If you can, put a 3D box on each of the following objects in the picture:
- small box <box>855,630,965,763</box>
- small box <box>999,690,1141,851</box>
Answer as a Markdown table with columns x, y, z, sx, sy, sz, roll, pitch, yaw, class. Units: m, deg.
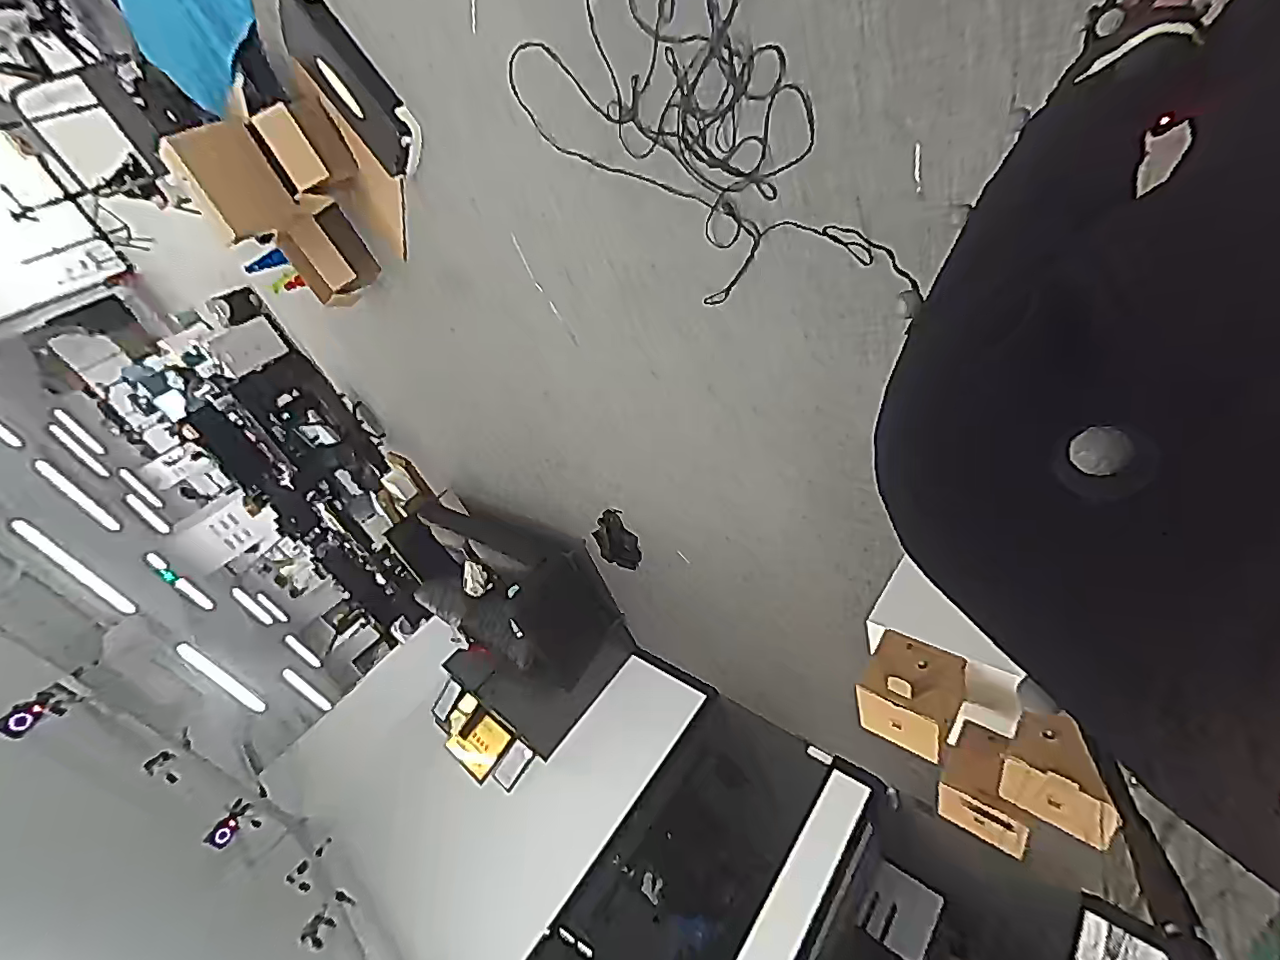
| x | y | z | sx | sy | sz | roll | pitch | yaw | class |
| --- | --- | --- | --- | --- | --- | --- | --- | --- | --- |
| 0.593 | 0.467 | 1.184 | 0.168 | 0.176 | 0.179 | 16 | 140 | 42 | small box |
| 0.791 | 0.526 | 1.000 | 0.168 | 0.176 | 0.179 | 18 | 142 | 43 | small box |
